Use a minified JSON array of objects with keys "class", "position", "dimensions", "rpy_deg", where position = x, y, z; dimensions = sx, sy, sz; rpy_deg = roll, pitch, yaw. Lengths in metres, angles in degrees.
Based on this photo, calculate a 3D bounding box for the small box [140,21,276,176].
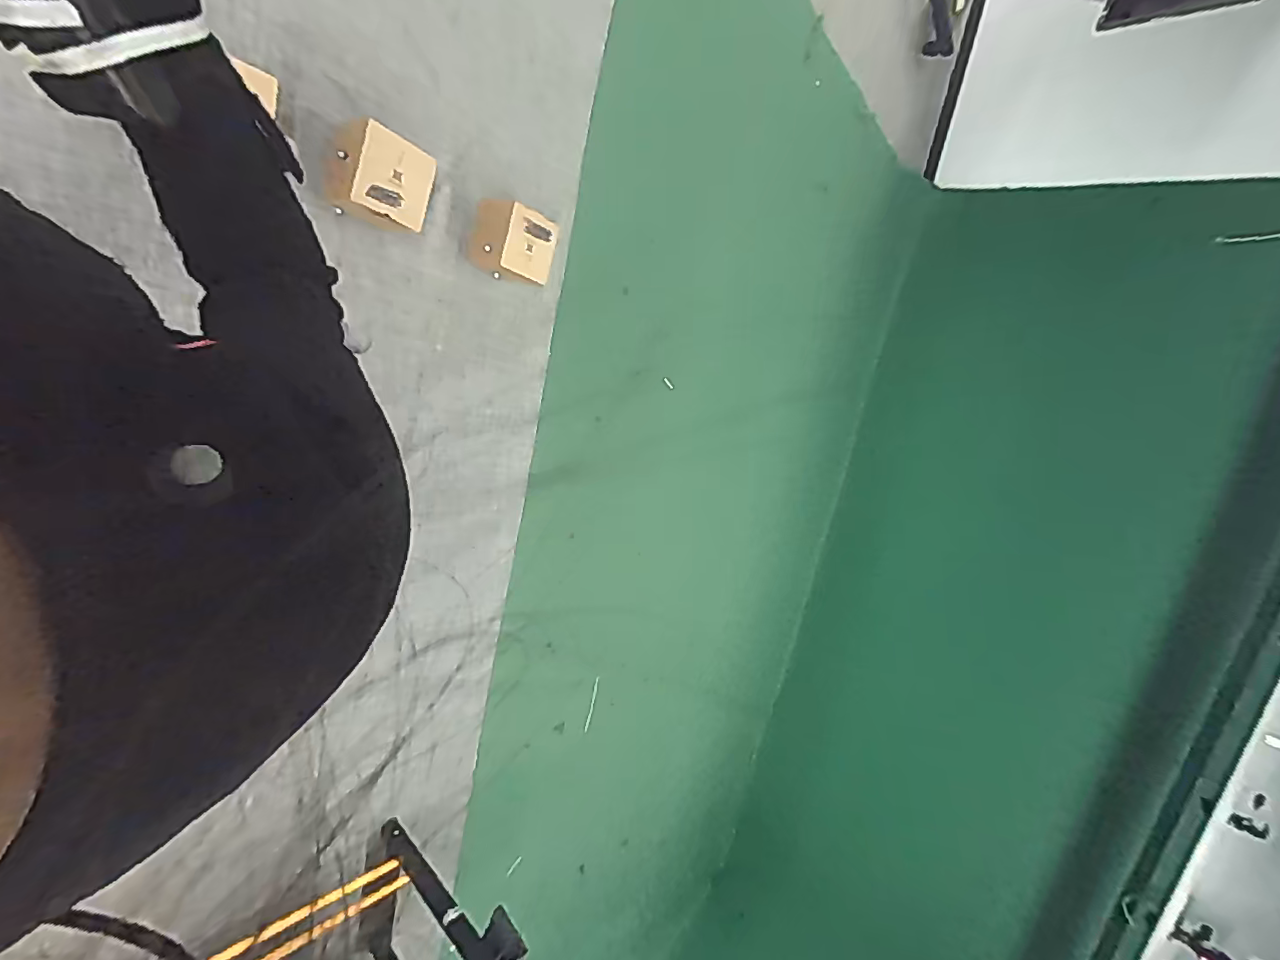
[{"class":"small box","position":[-0.810,-0.695,1.011],"dimensions":[0.168,0.176,0.179],"rpy_deg":[0,107,-50]}]

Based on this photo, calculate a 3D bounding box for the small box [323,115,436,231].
[{"class":"small box","position":[-0.608,-0.699,1.253],"dimensions":[0.168,0.176,0.179],"rpy_deg":[10,99,-53]}]
